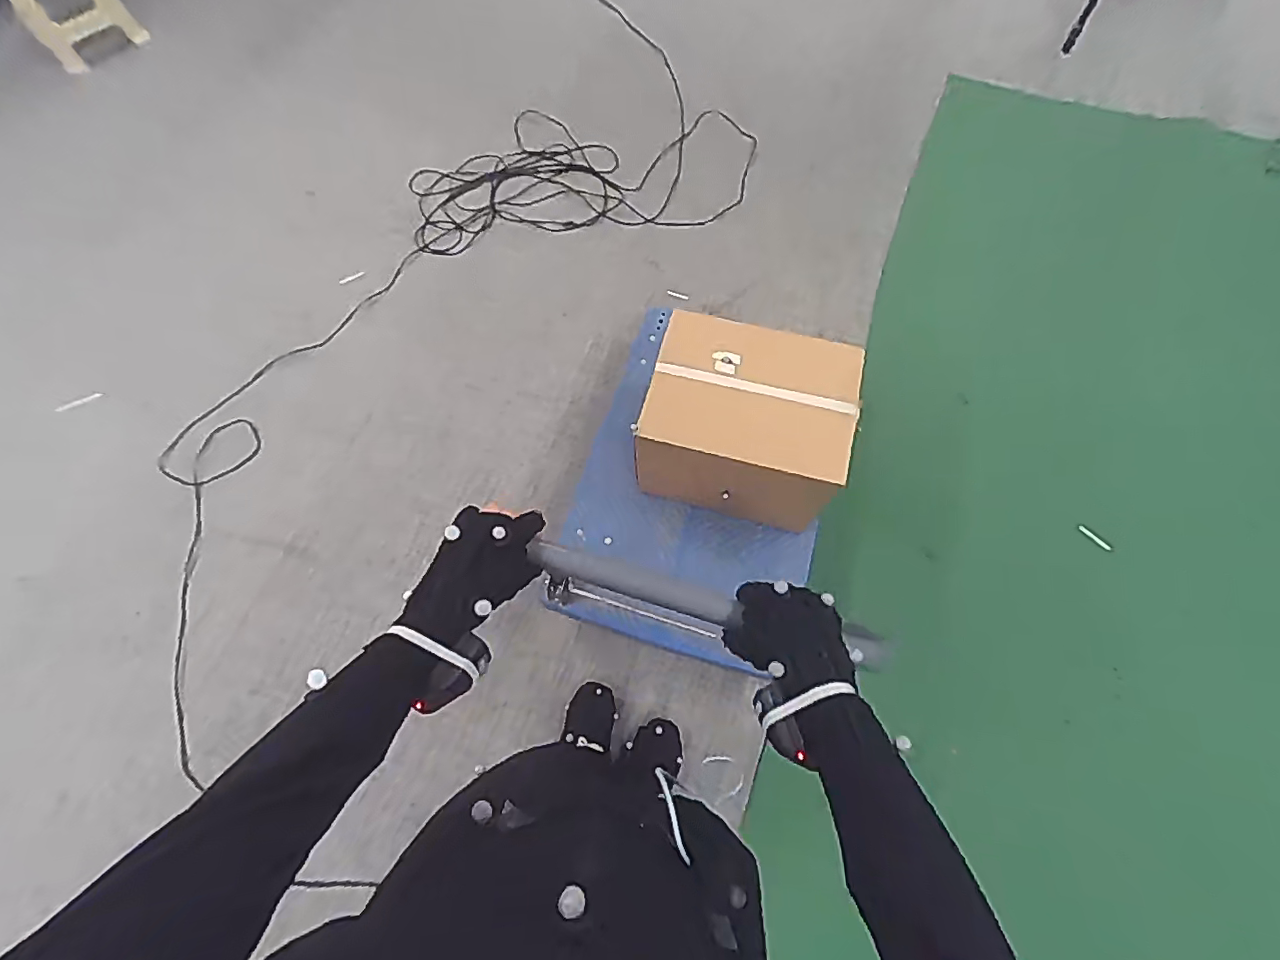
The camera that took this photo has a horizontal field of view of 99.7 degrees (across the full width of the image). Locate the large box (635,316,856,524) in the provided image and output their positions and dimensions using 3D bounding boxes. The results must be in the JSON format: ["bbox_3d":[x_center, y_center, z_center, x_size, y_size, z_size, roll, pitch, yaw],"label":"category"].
[{"bbox_3d":[0.226,-0.121,1.219,0.408,0.320,0.320,13,69,8],"label":"large box"}]
